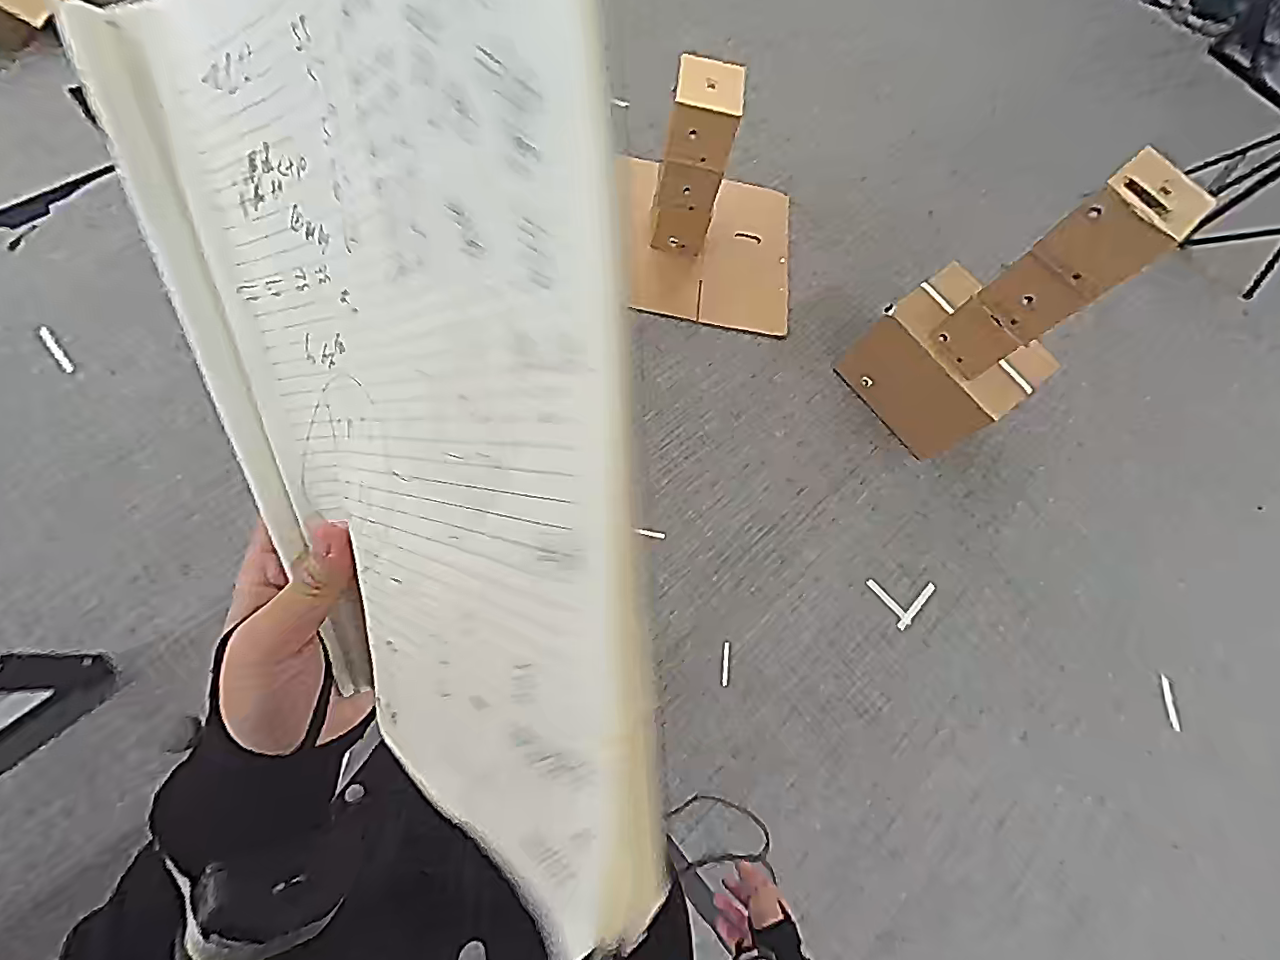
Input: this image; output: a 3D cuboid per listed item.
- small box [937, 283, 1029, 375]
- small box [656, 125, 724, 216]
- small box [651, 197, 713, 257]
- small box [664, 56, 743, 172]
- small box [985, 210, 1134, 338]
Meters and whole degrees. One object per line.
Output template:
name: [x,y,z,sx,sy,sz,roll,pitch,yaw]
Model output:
small box: [0.892,-0.396,1.362,0.179,0.176,0.168,-34,80,-18]
small box: [0.142,-0.894,1.555,0.168,0.176,0.179,6,71,-8]
small box: [0.130,-0.845,1.712,0.168,0.176,0.179,4,72,-7]
small box: [0.159,-0.938,1.399,0.168,0.176,0.179,8,70,-6]
small box: [0.924,-0.453,1.212,0.179,0.176,0.168,-37,81,-17]
